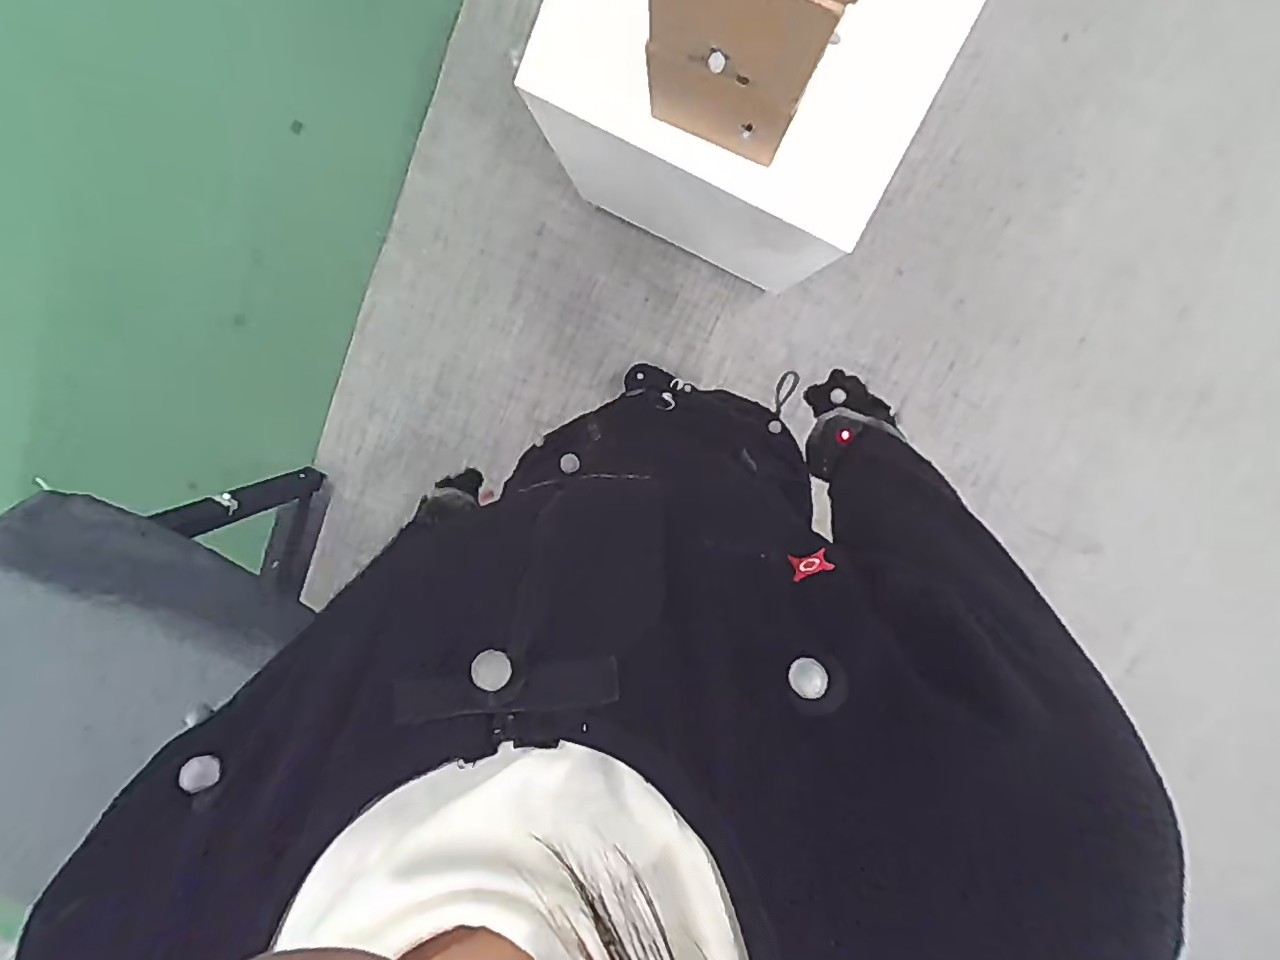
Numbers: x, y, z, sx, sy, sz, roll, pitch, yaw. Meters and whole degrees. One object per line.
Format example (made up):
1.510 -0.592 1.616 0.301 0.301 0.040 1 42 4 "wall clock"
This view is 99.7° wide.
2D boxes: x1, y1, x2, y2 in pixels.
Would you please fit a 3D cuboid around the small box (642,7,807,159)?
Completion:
0.119 -0.501 0.617 0.179 0.176 0.168 23 103 0 "small box"

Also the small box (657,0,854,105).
0.114 -0.471 0.456 0.168 0.176 0.179 21 101 -1 "small box"
